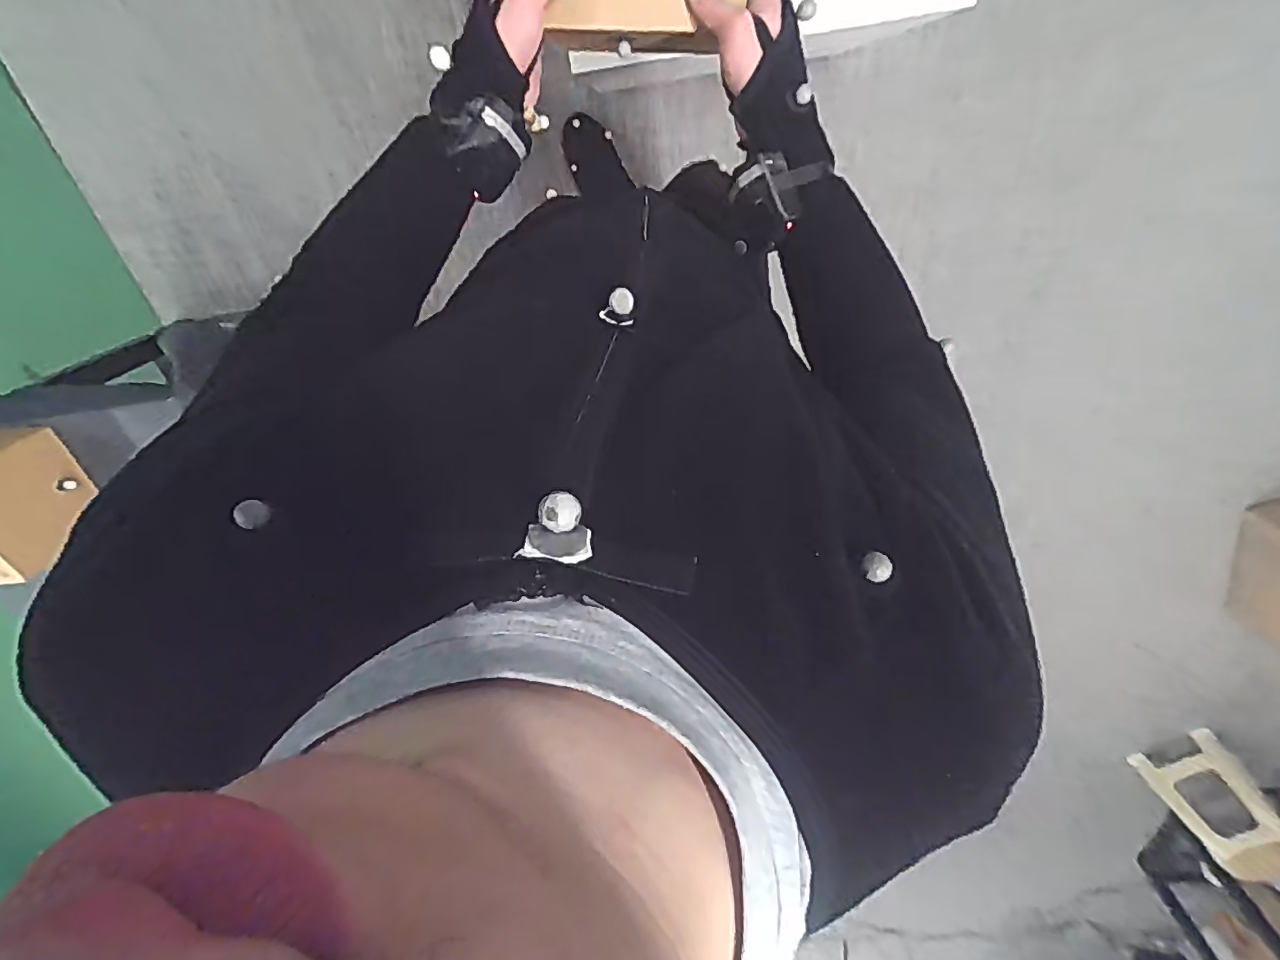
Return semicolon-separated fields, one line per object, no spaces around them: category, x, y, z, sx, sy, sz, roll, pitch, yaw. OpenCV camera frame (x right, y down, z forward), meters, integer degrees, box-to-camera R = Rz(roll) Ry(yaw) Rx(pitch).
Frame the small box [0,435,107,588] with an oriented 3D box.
small box;-0.972;0.043;0.796;0.168;0.176;0.179;-4;124;2

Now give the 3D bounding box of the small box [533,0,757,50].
small box;0.006;-0.470;0.448;0.179;0.176;0.168;1;124;-2
